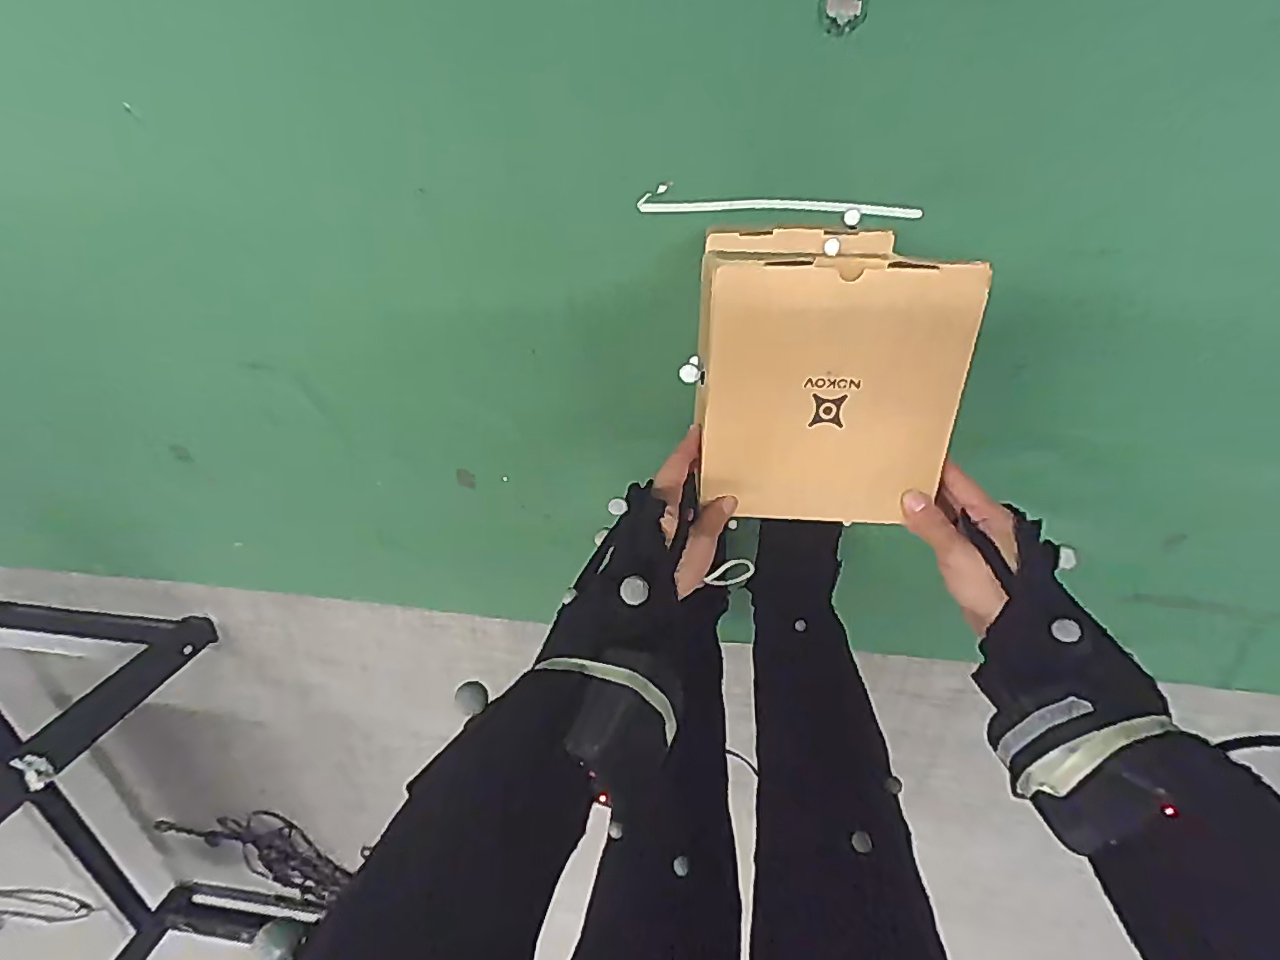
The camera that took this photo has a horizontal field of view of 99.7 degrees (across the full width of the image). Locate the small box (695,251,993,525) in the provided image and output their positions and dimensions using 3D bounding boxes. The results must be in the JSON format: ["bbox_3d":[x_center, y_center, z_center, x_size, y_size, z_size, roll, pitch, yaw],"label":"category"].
[{"bbox_3d":[0.131,-0.084,0.429,0.168,0.176,0.179,3,113,3],"label":"small box"}]
